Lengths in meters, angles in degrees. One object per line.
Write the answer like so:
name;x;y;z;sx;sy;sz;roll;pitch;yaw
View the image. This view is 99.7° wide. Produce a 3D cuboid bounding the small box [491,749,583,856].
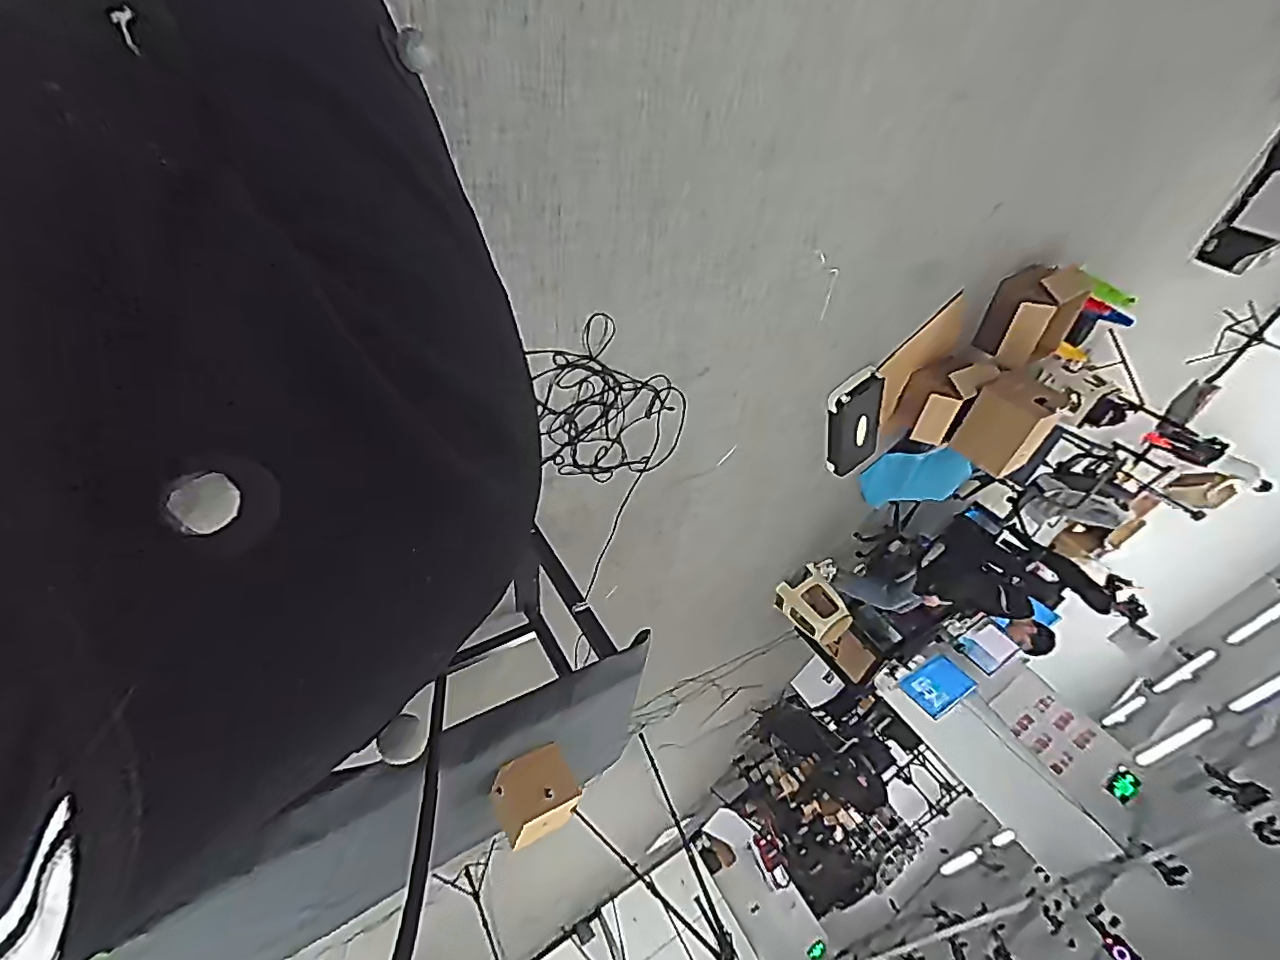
small box;-0.289;0.884;1.499;0.179;0.176;0.168;-6;130;-37
